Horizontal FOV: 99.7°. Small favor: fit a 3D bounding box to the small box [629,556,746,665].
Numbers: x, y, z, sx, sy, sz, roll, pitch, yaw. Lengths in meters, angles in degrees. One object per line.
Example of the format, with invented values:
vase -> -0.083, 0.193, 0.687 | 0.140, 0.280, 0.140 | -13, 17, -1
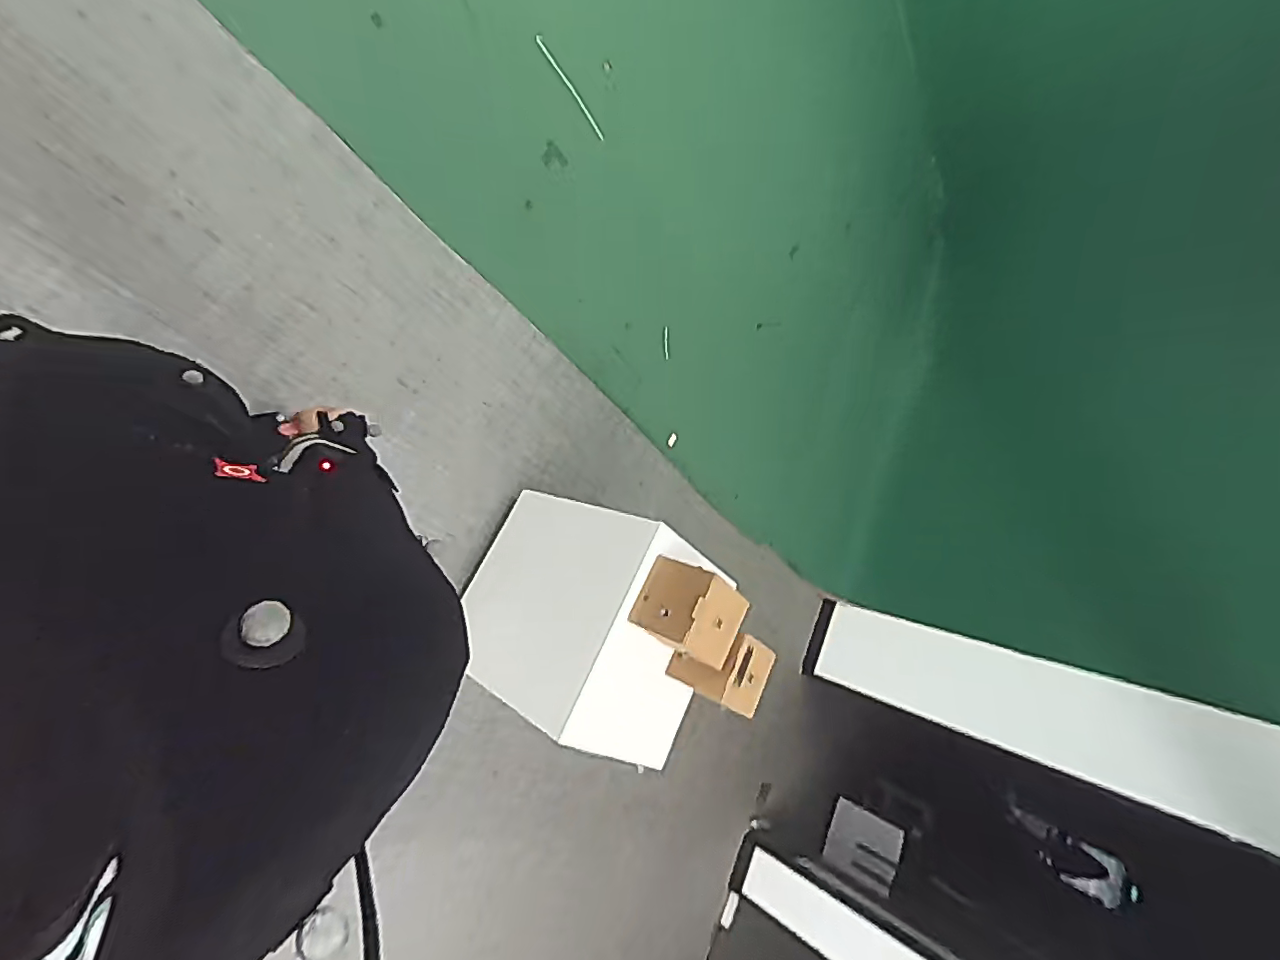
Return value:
small box -> 0.104, 0.286, 1.209 | 0.179, 0.176, 0.168 | 44, 67, -43
